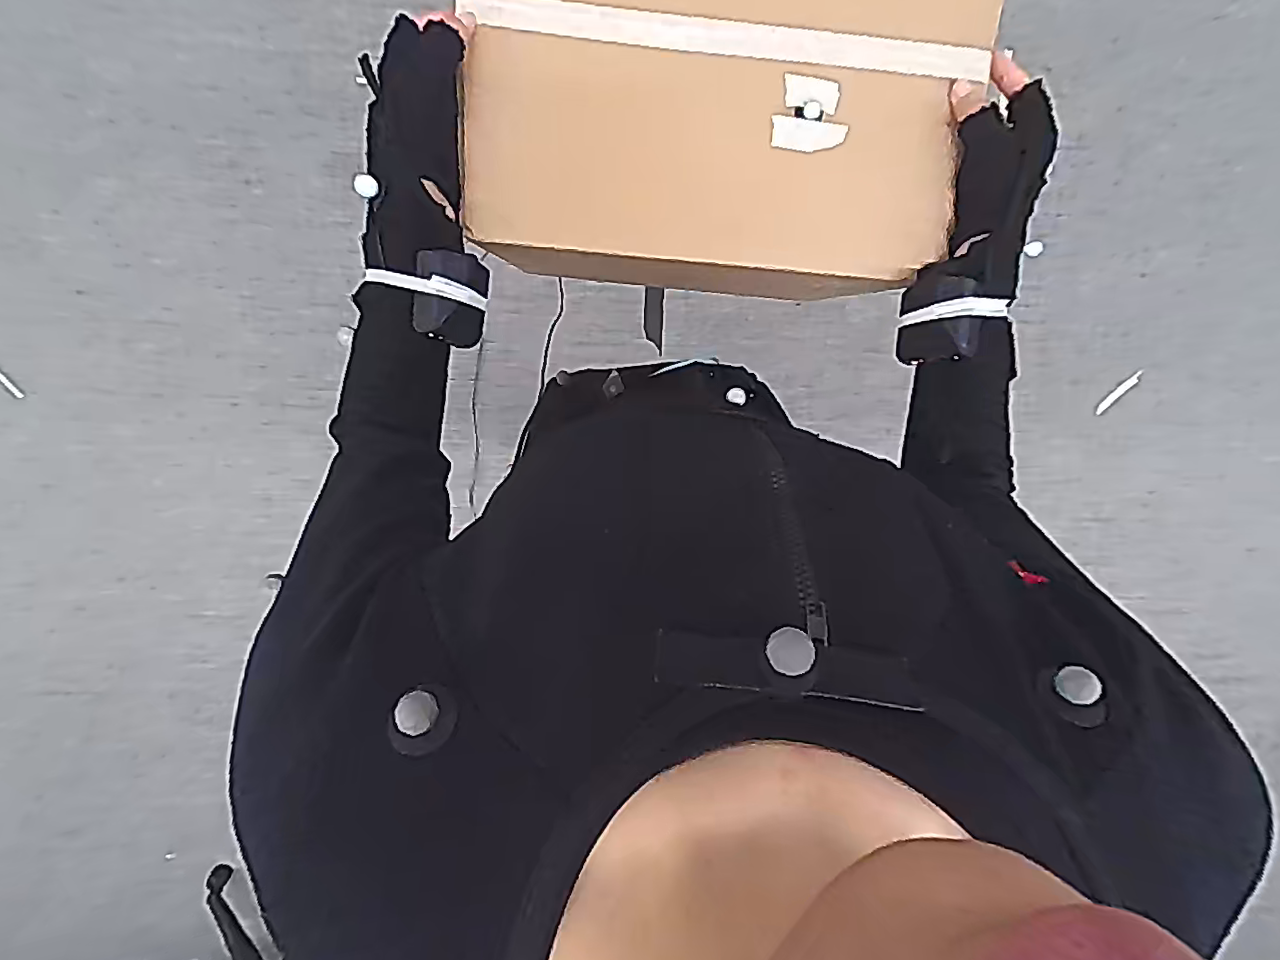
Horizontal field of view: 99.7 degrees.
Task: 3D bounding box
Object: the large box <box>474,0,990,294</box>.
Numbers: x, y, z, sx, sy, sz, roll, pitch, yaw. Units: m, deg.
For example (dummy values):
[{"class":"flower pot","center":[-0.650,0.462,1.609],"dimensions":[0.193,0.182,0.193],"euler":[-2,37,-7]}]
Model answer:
[{"class":"large box","center":[0.061,-0.378,0.566],"dimensions":[0.408,0.320,0.320],"euler":[4,107,-4]}]
